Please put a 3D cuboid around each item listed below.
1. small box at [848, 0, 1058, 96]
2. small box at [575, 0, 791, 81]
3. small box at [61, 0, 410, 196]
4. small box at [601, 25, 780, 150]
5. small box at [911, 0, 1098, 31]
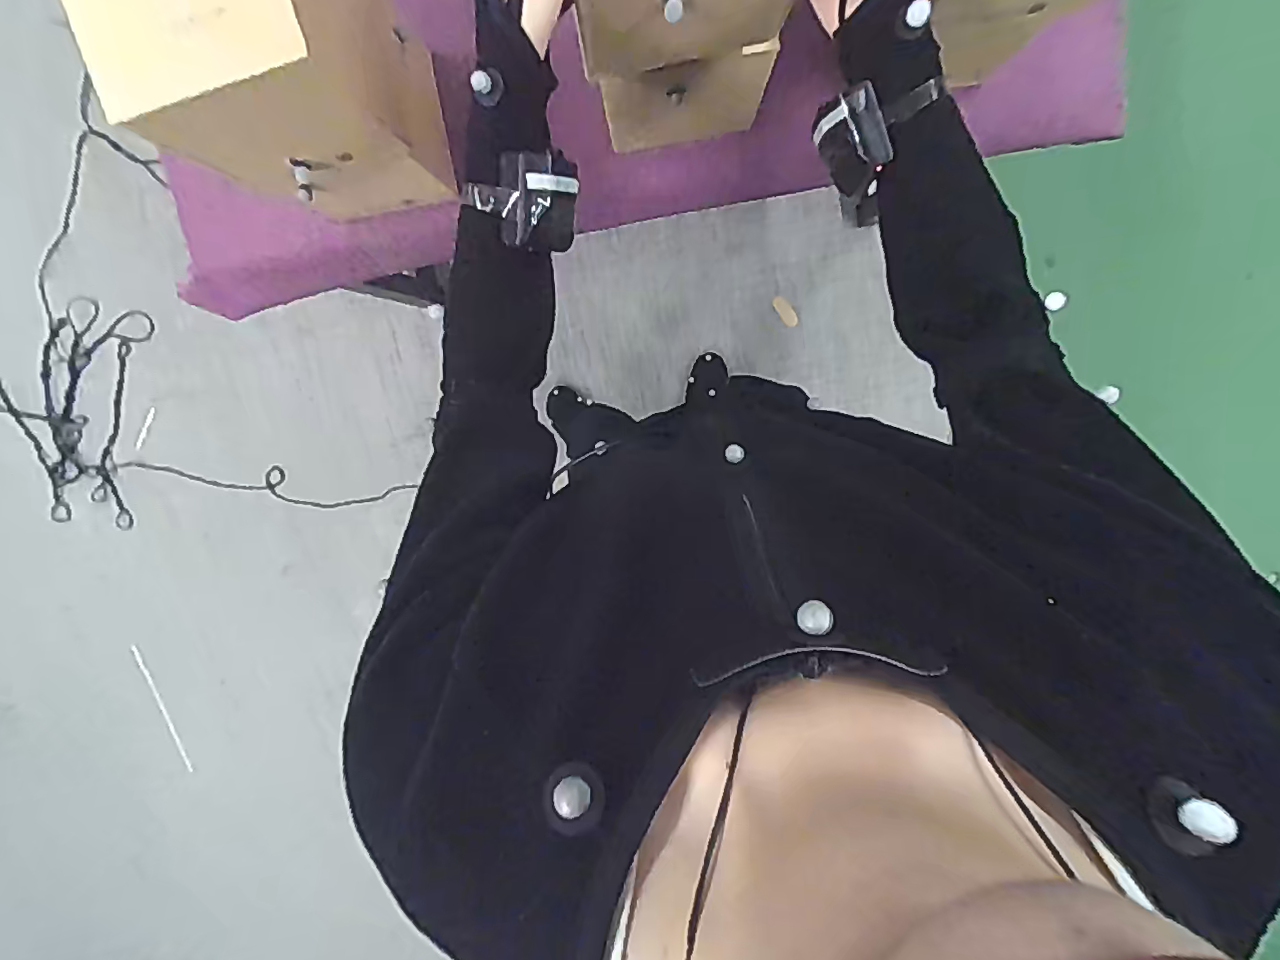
[{"bbox_3d":[0.328,-0.534,0.565,0.168,0.176,0.179,-4,101,3],"label":"small box"},{"bbox_3d":[0.025,-0.431,0.392,0.179,0.176,0.168,-12,104,2],"label":"small box"},{"bbox_3d":[-0.327,-0.374,0.455,0.168,0.176,0.179,-13,100,5],"label":"small box"},{"bbox_3d":[0.042,-0.486,0.585,0.179,0.176,0.168,-8,100,3],"label":"small box"},{"bbox_3d":[0.320,-0.484,0.407,0.168,0.176,0.179,-7,101,4],"label":"small box"}]
